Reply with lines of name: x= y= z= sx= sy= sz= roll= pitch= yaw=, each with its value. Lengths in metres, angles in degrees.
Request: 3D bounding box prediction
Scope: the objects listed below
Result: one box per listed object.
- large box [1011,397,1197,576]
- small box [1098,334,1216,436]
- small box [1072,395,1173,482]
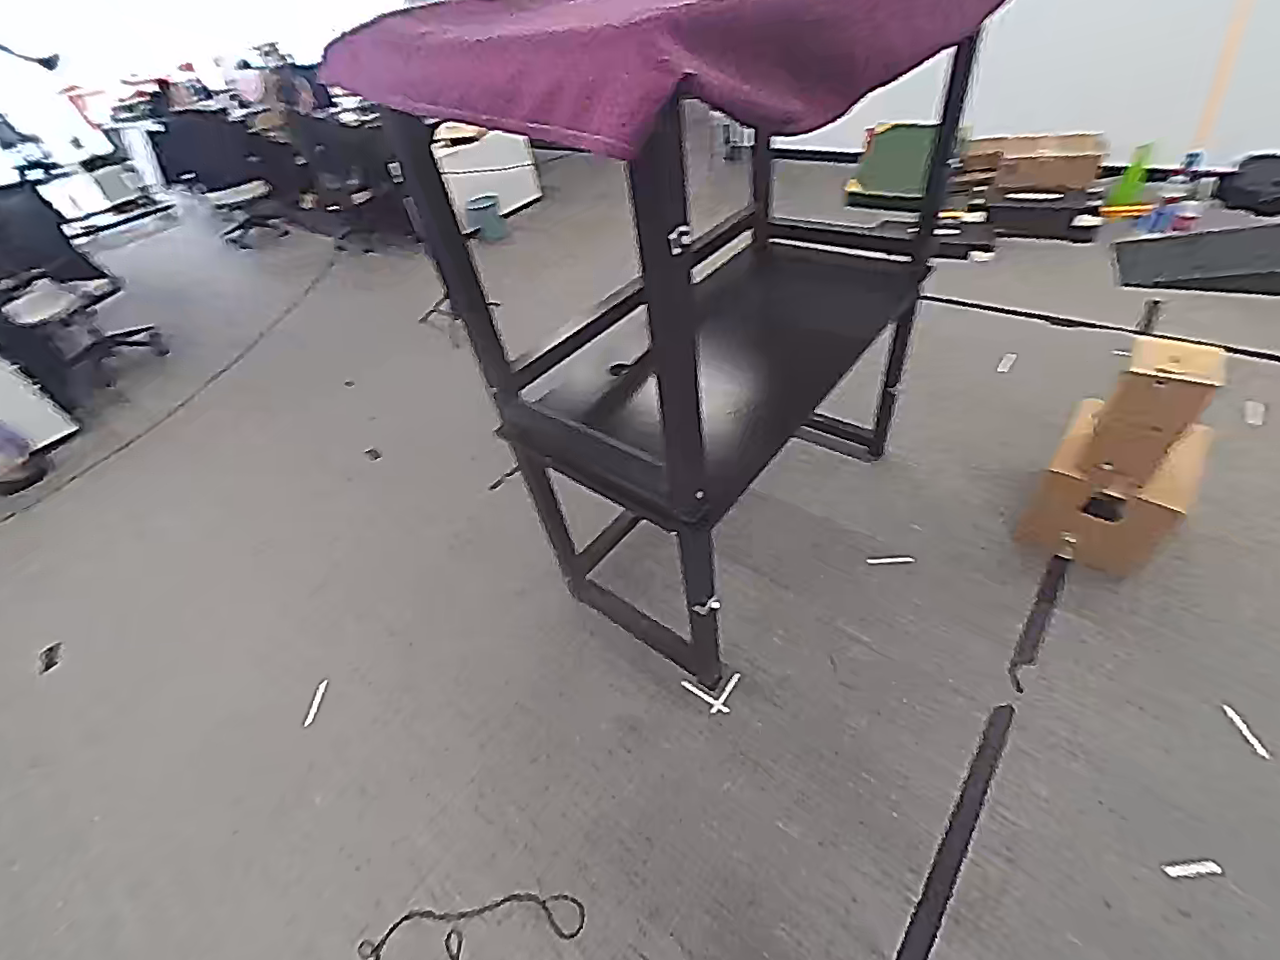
large box: x=1.413 y=0.013 z=1.665 sx=0.320 sy=0.320 sz=0.408 roll=27 pitch=55 yaw=31
small box: x=1.294 y=-0.241 z=1.360 sx=0.168 sy=0.176 sz=0.179 roll=21 pitch=52 yaw=31
small box: x=1.319 y=-0.126 z=1.474 sx=0.168 sy=0.176 sz=0.179 roll=24 pitch=55 yaw=33
